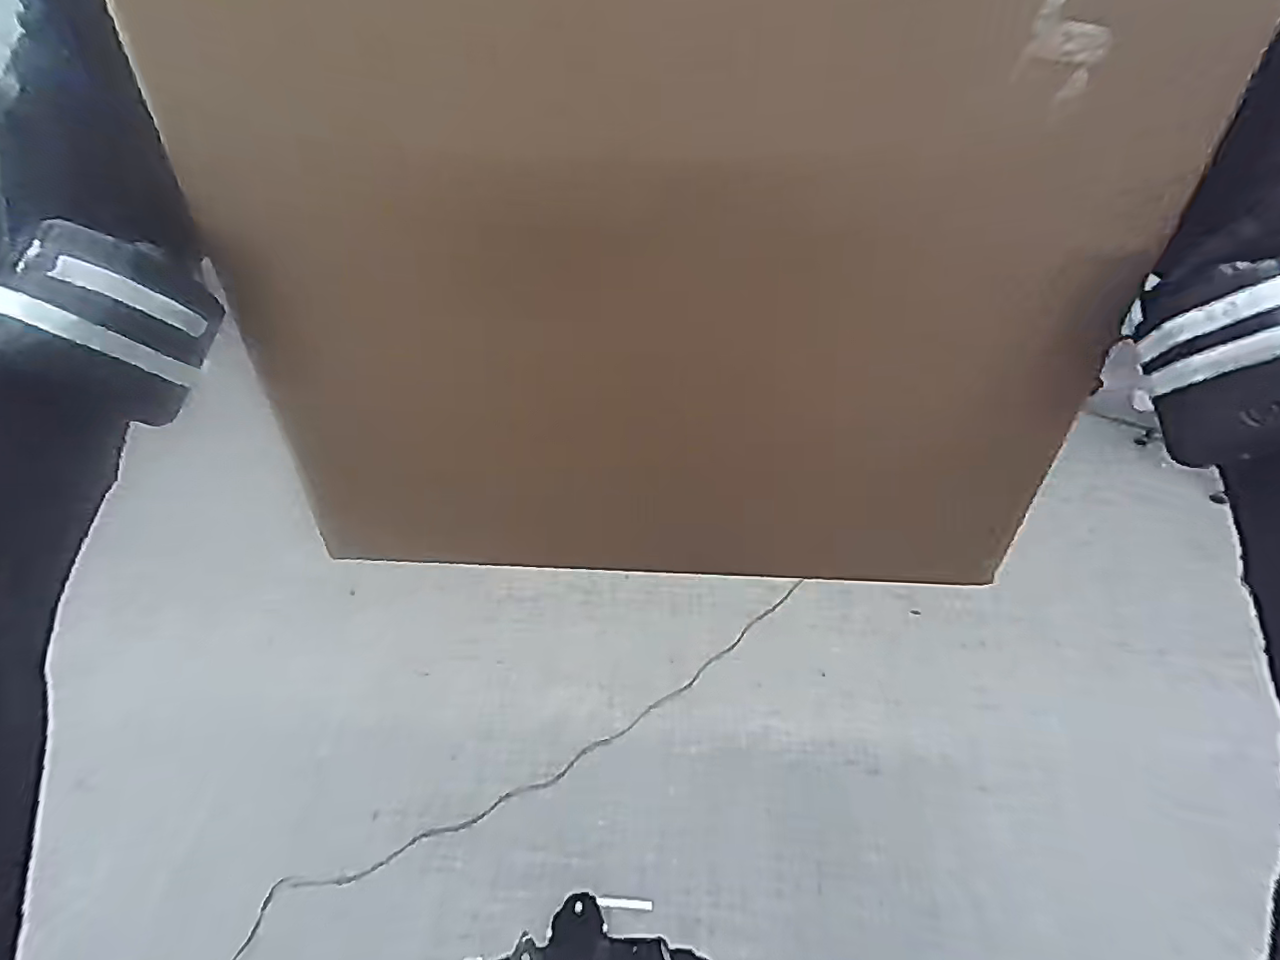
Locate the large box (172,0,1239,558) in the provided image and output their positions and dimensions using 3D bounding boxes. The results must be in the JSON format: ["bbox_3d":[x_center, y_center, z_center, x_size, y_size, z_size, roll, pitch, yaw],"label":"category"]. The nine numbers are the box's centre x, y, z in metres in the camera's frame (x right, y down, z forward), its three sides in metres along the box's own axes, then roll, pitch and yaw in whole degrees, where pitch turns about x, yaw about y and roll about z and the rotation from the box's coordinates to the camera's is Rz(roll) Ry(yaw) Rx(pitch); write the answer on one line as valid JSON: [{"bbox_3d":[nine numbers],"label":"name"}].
[{"bbox_3d":[0.020,-0.161,0.382,0.408,0.320,0.320,3,34,1],"label":"large box"}]
